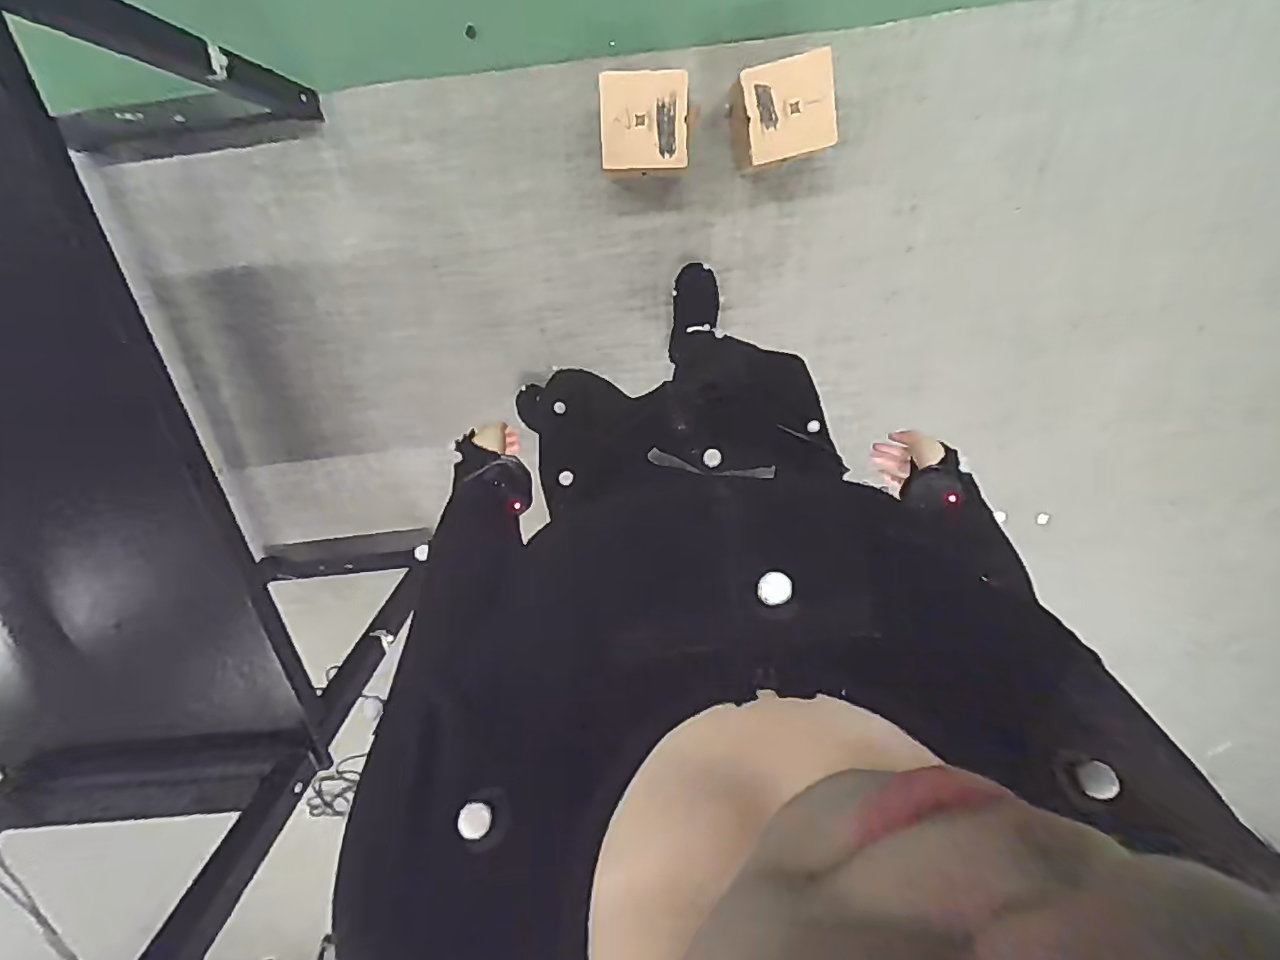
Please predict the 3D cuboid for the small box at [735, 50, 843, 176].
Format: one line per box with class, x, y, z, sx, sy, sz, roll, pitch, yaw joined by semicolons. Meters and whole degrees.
small box;0.300;-0.745;1.119;0.179;0.176;0.168;-12;114;5
